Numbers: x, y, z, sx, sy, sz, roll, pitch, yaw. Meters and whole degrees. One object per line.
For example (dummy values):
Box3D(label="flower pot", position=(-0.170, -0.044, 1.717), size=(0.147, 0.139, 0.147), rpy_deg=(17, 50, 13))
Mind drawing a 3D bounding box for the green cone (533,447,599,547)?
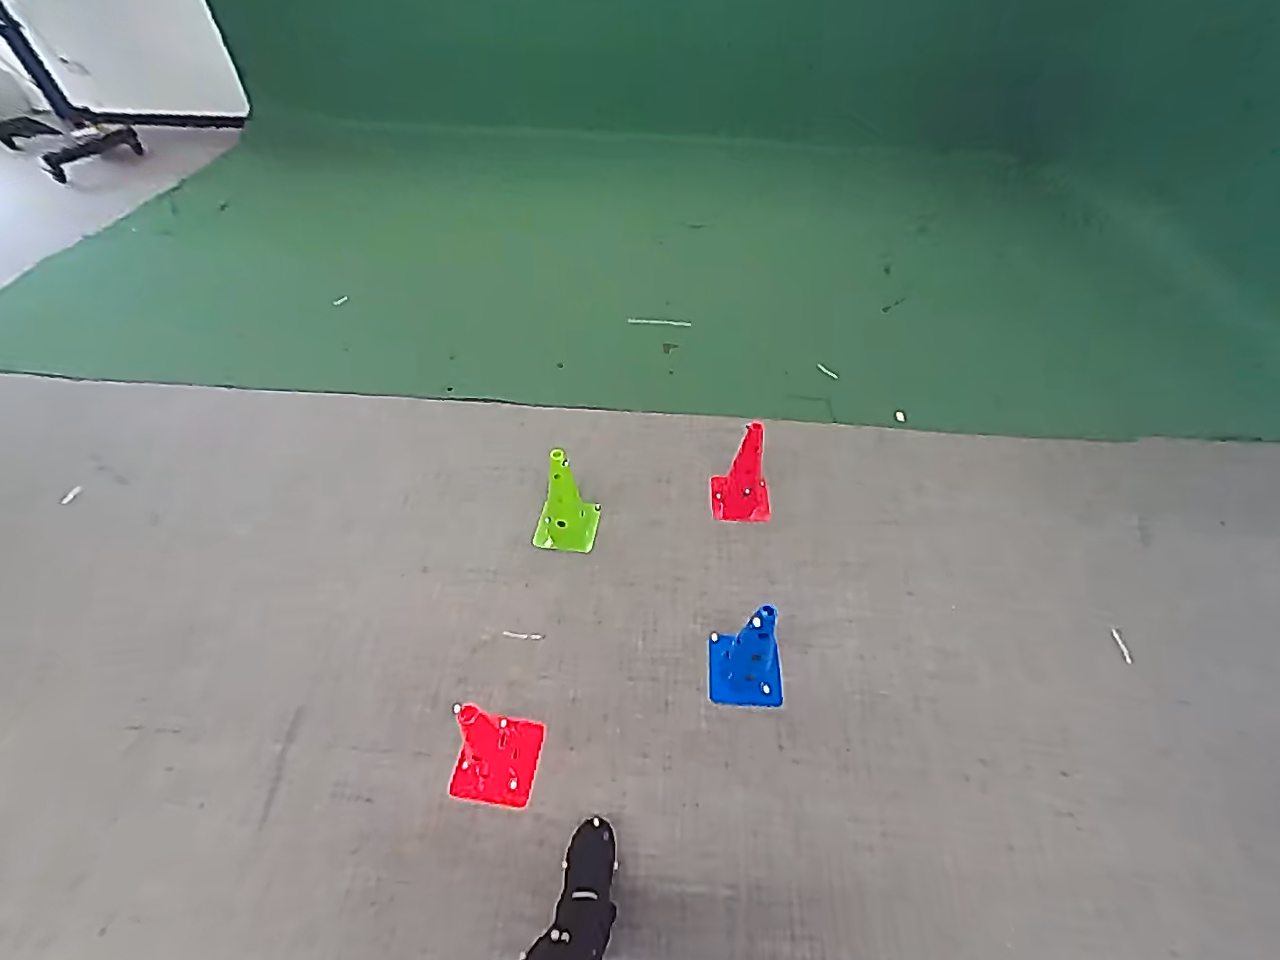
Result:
Box3D(label="green cone", position=(-0.248, 0.028, 1.701), size=(0.200, 0.368, 0.202), rpy_deg=(5, 51, 4))

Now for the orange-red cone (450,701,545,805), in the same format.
Box3D(label="orange-red cone", position=(-0.350, 0.580, 1.232), size=(0.198, 0.360, 0.199), rpy_deg=(8, 48, 5))
